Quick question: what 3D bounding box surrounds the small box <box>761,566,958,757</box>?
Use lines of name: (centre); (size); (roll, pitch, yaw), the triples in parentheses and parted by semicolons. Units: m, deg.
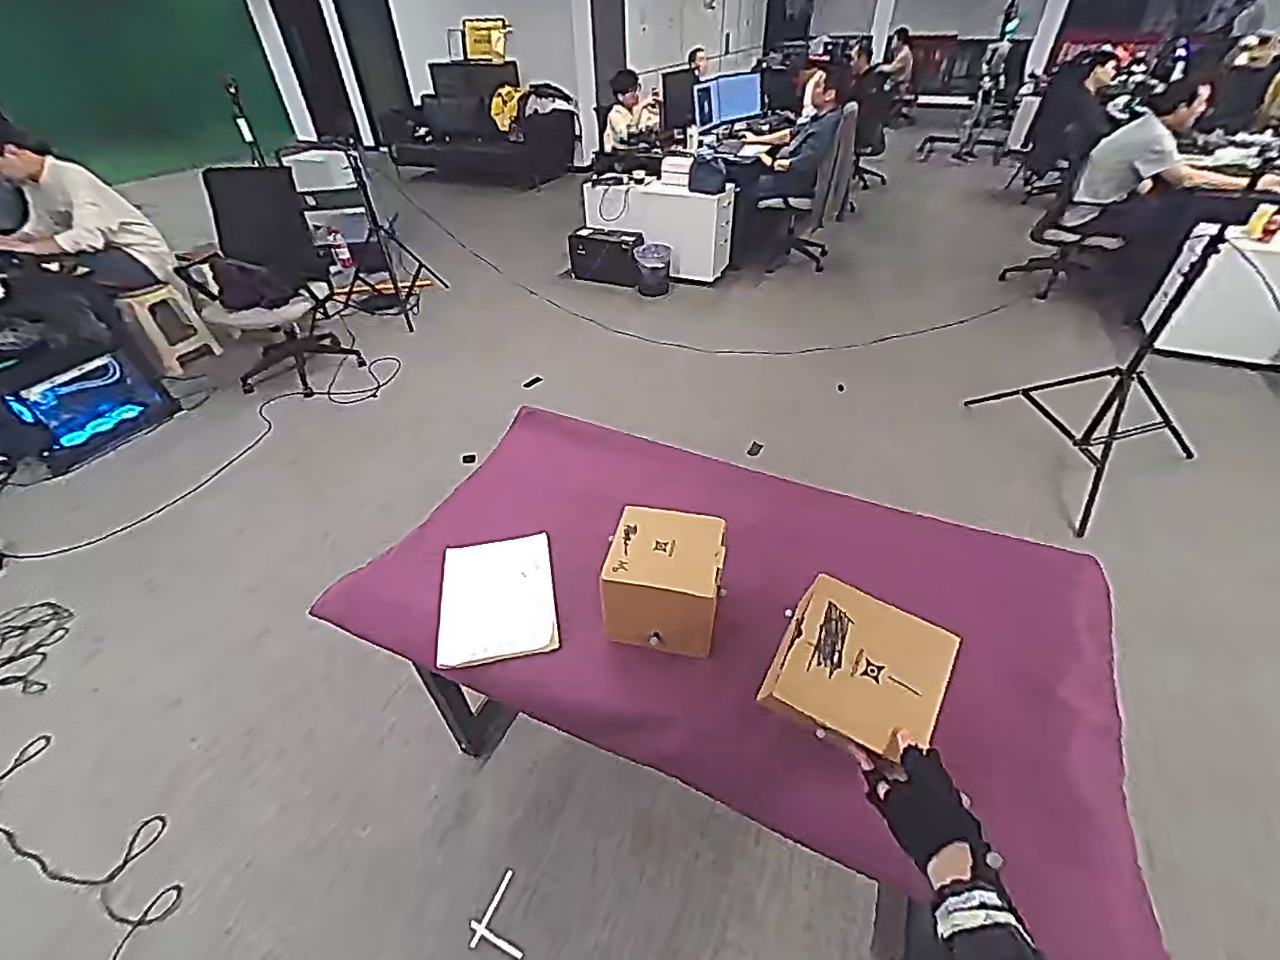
small box: (0.274, 0.243, 0.714); (0.179, 0.176, 0.168); (25, 69, 17)

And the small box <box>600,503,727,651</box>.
small box: (0.043, 0.164, 0.908); (0.179, 0.176, 0.168); (8, 41, 11)
